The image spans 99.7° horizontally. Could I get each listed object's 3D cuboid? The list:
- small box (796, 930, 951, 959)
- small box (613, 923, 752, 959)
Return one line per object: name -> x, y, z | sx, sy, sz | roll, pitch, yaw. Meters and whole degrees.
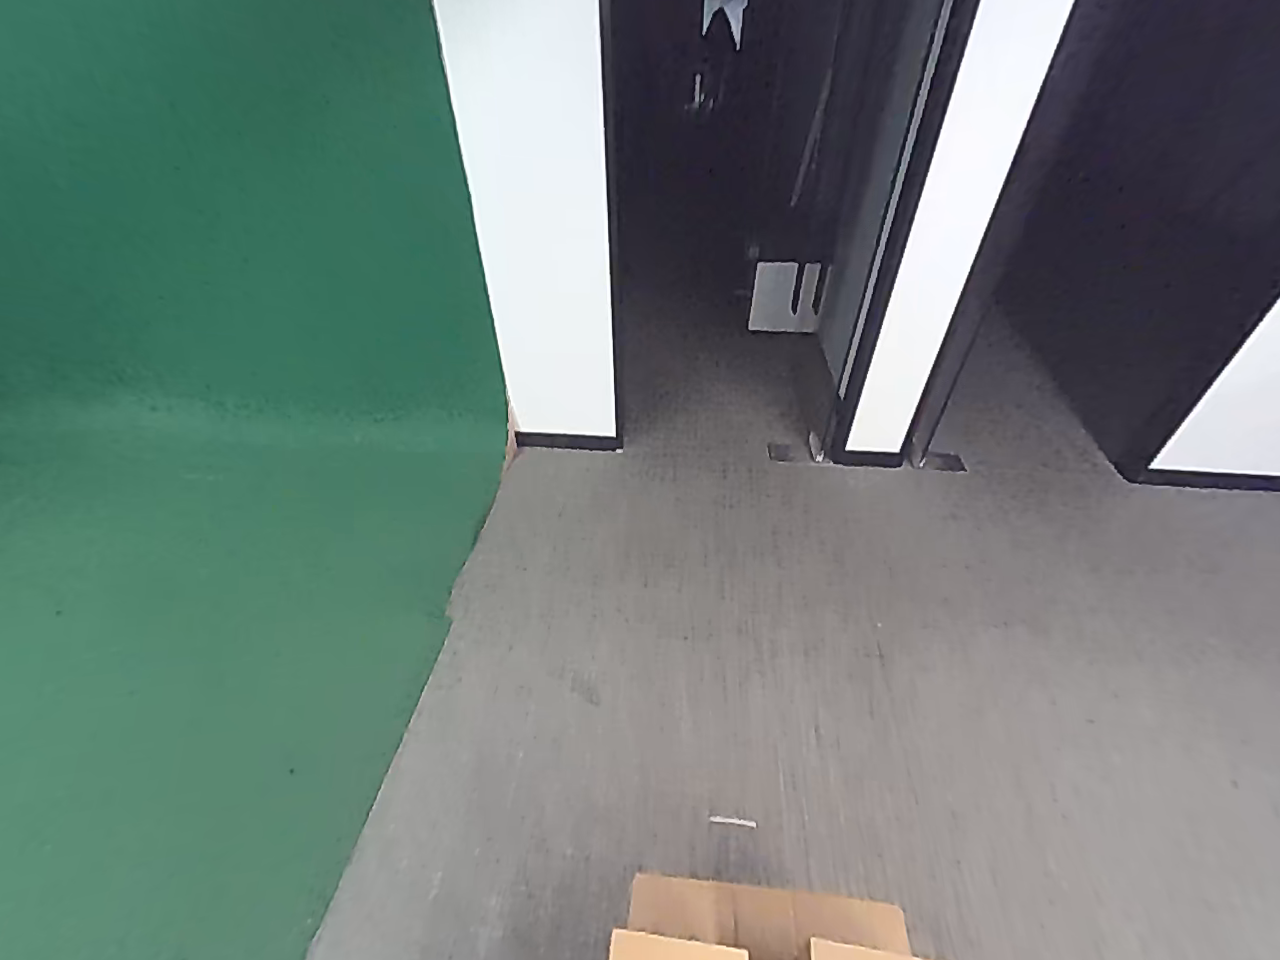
small box -> 0.276, 0.669, 0.629 | 0.168, 0.176, 0.179 | 5, 39, 8
small box -> 0.039, 0.663, 0.641 | 0.168, 0.176, 0.179 | 5, 43, 4
